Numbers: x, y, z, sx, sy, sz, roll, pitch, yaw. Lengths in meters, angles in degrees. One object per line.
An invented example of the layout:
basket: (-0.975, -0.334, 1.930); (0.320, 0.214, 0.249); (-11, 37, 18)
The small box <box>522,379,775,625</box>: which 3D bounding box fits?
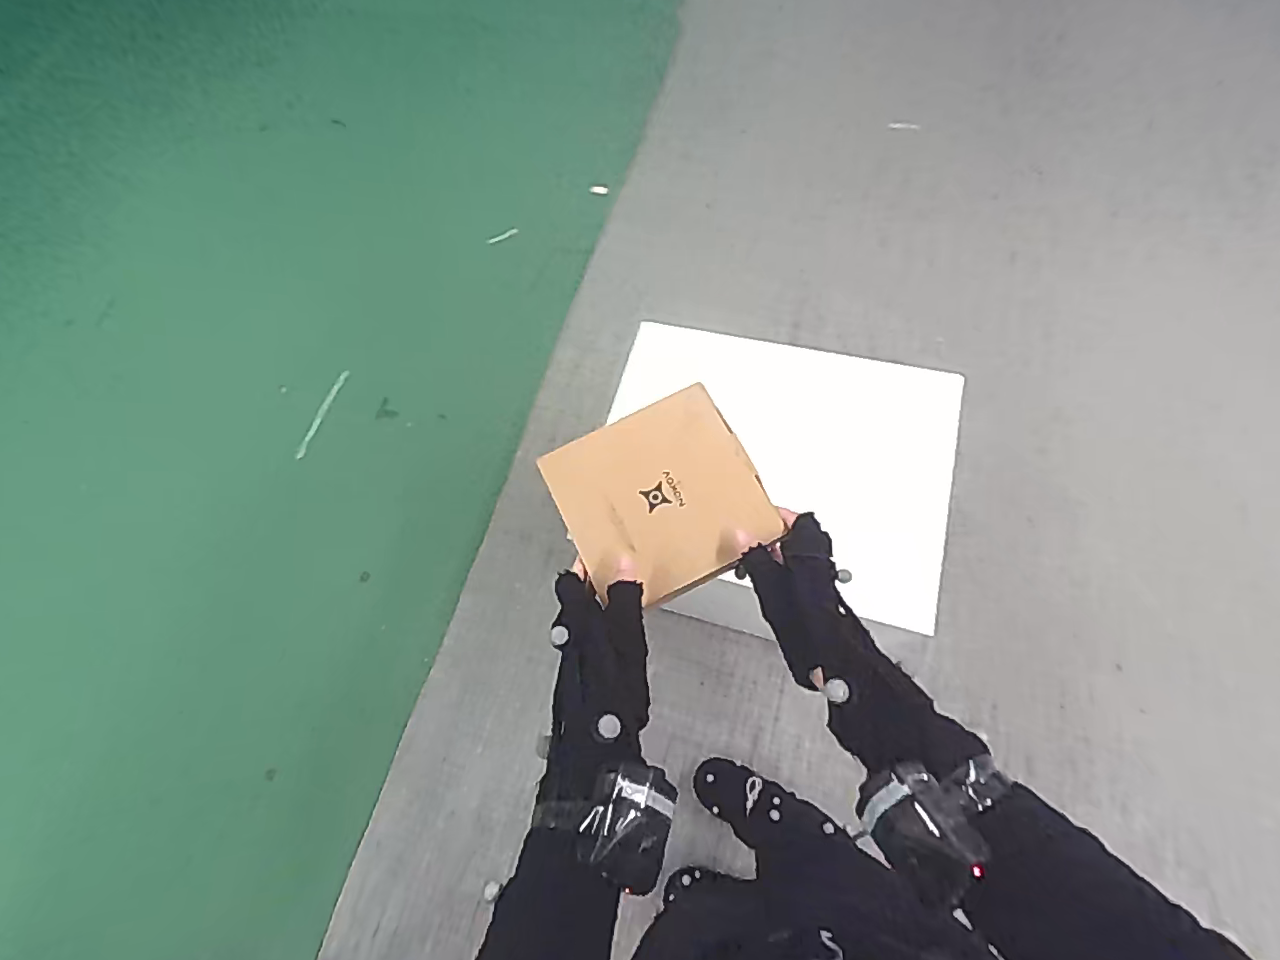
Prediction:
small box: (0.009, 0.031, 0.549); (0.179, 0.176, 0.168); (-27, 77, -2)
